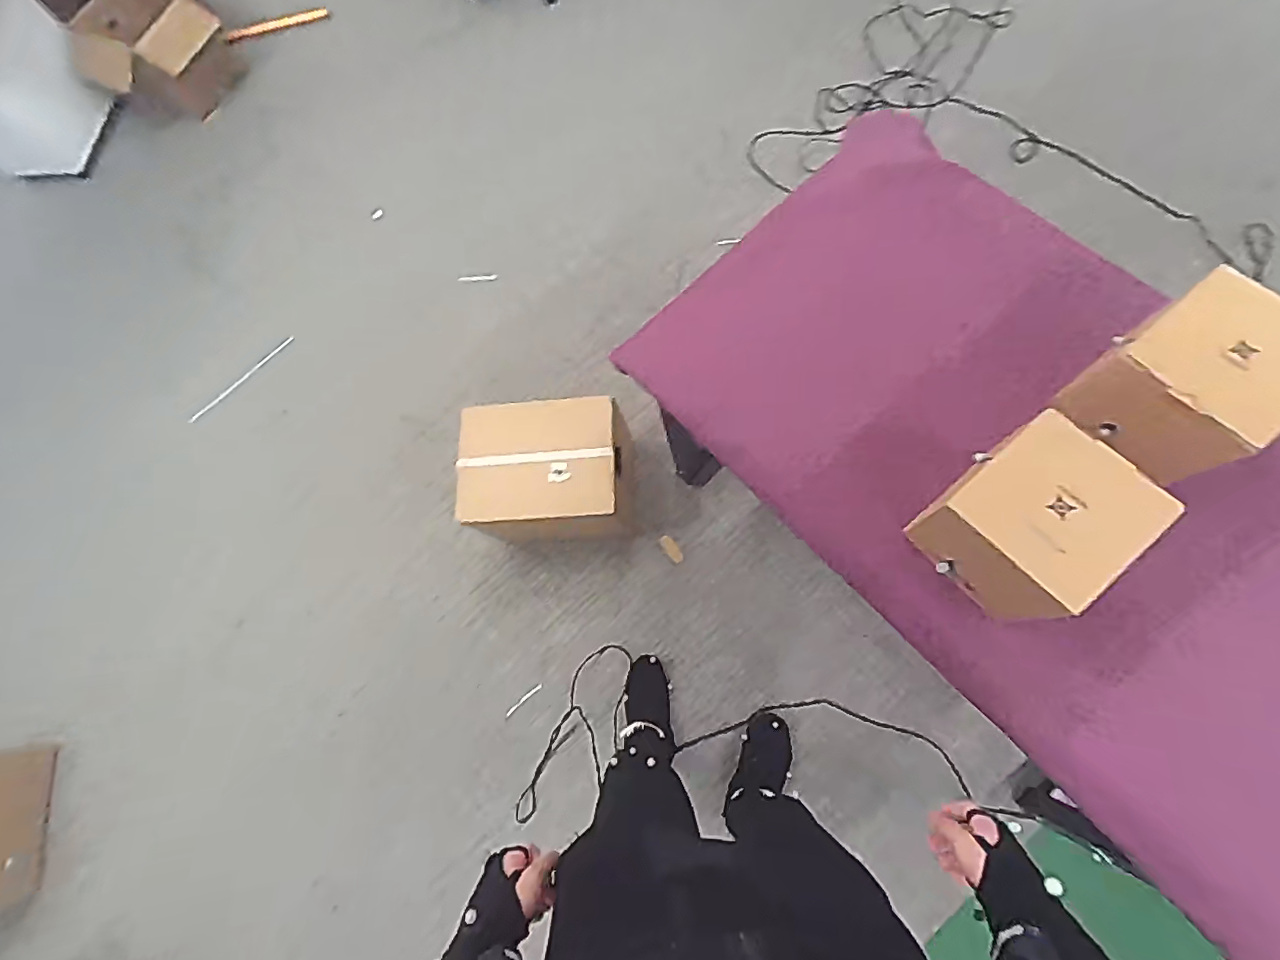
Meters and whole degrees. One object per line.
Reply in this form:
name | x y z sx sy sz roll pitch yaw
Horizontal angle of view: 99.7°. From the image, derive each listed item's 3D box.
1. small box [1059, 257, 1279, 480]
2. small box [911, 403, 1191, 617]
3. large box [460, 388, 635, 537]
small box | 0.683 -0.125 0.670 0.179 0.176 0.168 -40 72 -3
small box | 0.468 0.046 0.652 0.179 0.176 0.168 -40 71 -4
large box | -0.233 -0.030 1.483 0.408 0.320 0.320 -3 75 7
